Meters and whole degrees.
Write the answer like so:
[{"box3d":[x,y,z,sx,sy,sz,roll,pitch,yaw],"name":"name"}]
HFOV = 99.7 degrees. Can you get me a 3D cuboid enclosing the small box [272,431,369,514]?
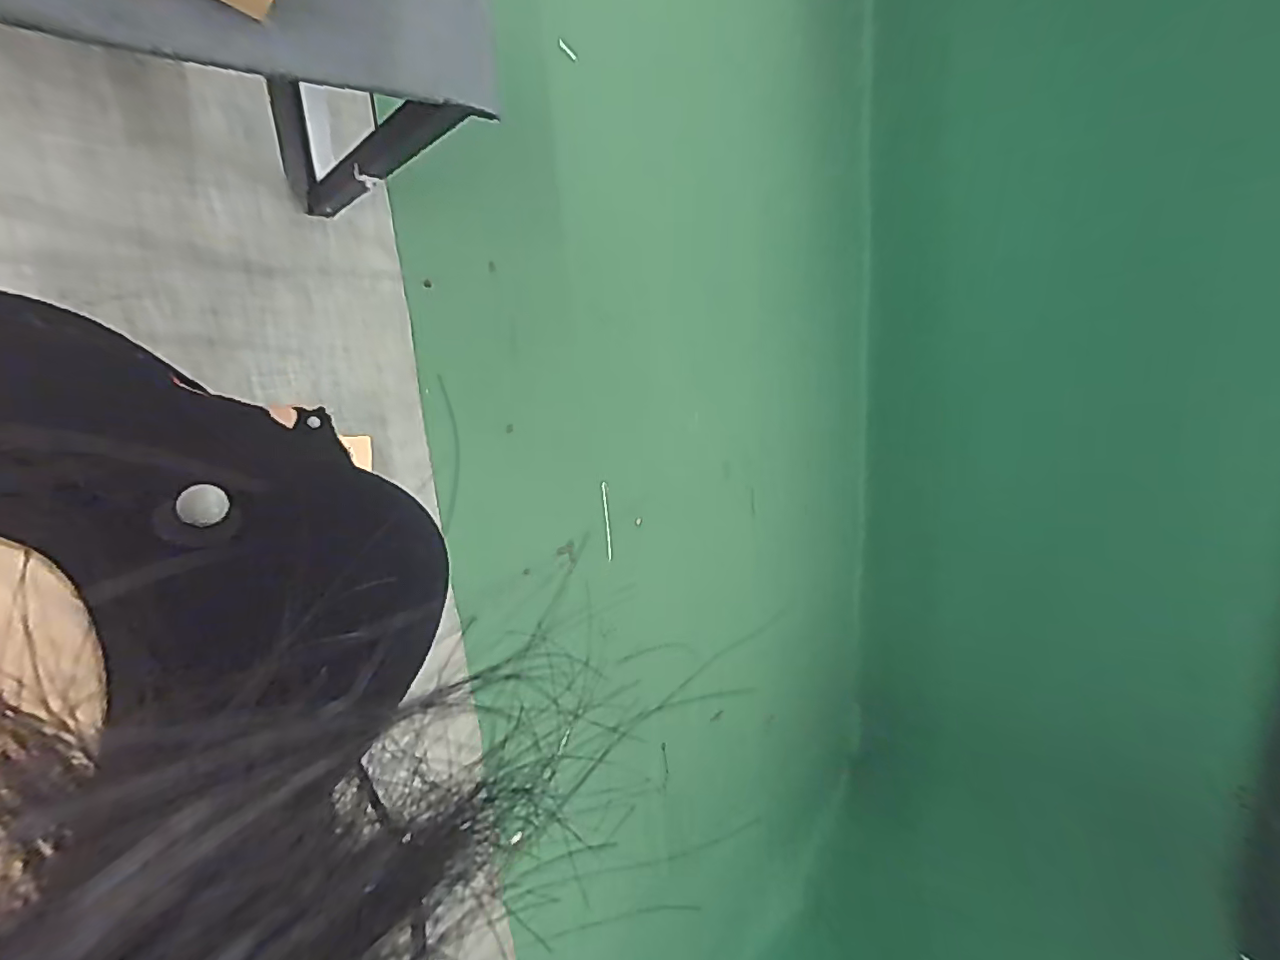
[{"box3d":[-0.764,-0.024,1.292,0.168,0.176,0.179,-5,99,-46],"name":"small box"}]
